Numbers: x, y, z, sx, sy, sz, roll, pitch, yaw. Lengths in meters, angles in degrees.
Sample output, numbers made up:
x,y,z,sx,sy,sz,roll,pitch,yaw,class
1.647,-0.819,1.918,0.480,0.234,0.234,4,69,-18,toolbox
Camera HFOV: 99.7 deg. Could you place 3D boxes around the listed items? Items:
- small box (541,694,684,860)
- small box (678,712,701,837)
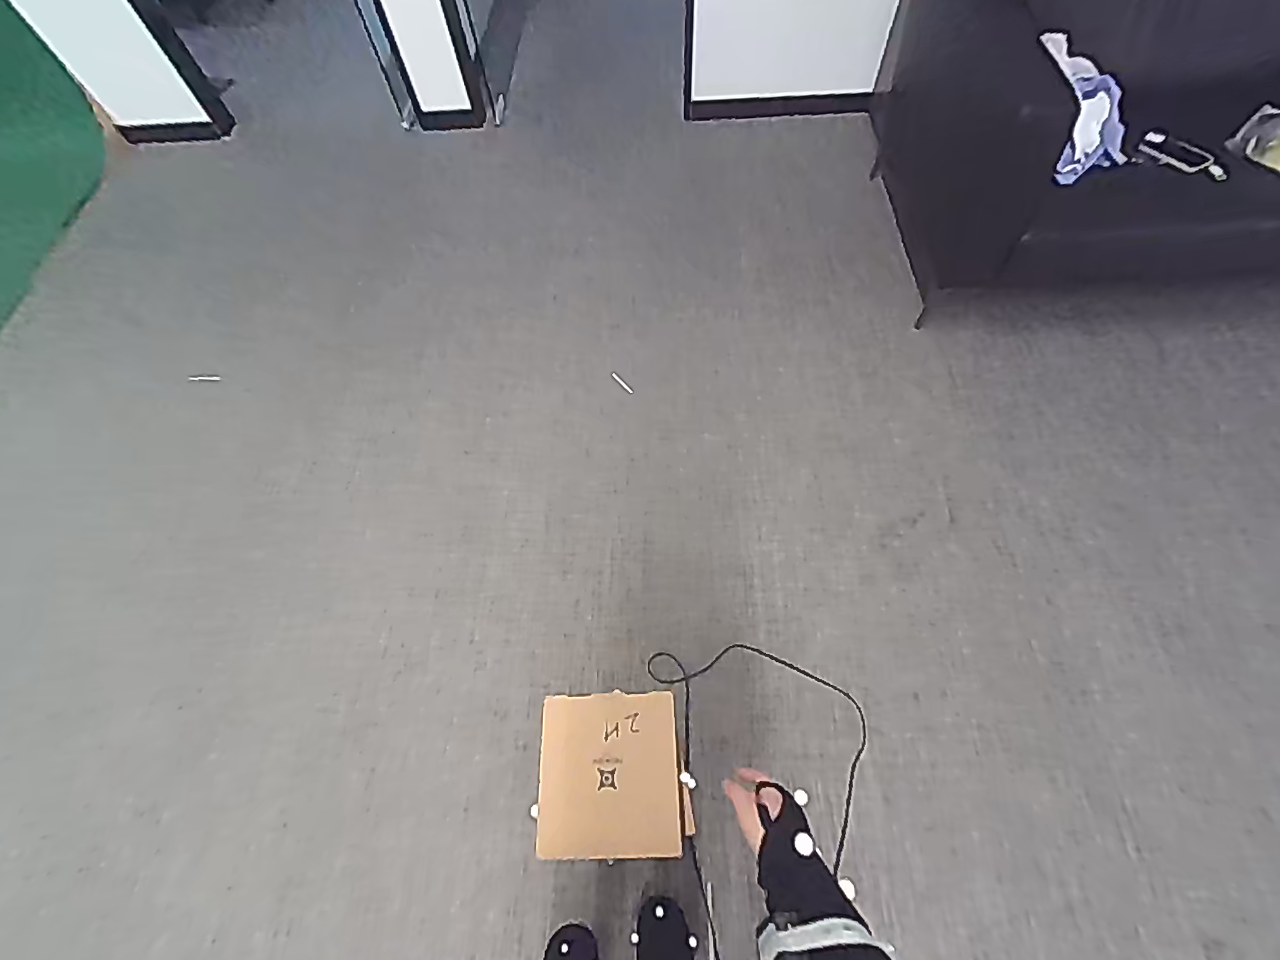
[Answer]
x,y,z,sx,sy,sz,roll,pitch,yaw,class
-0.027,0.387,0.720,0.168,0.176,0.179,-3,61,3,small box
-0.007,0.473,0.859,0.179,0.176,0.168,-11,61,-1,small box
